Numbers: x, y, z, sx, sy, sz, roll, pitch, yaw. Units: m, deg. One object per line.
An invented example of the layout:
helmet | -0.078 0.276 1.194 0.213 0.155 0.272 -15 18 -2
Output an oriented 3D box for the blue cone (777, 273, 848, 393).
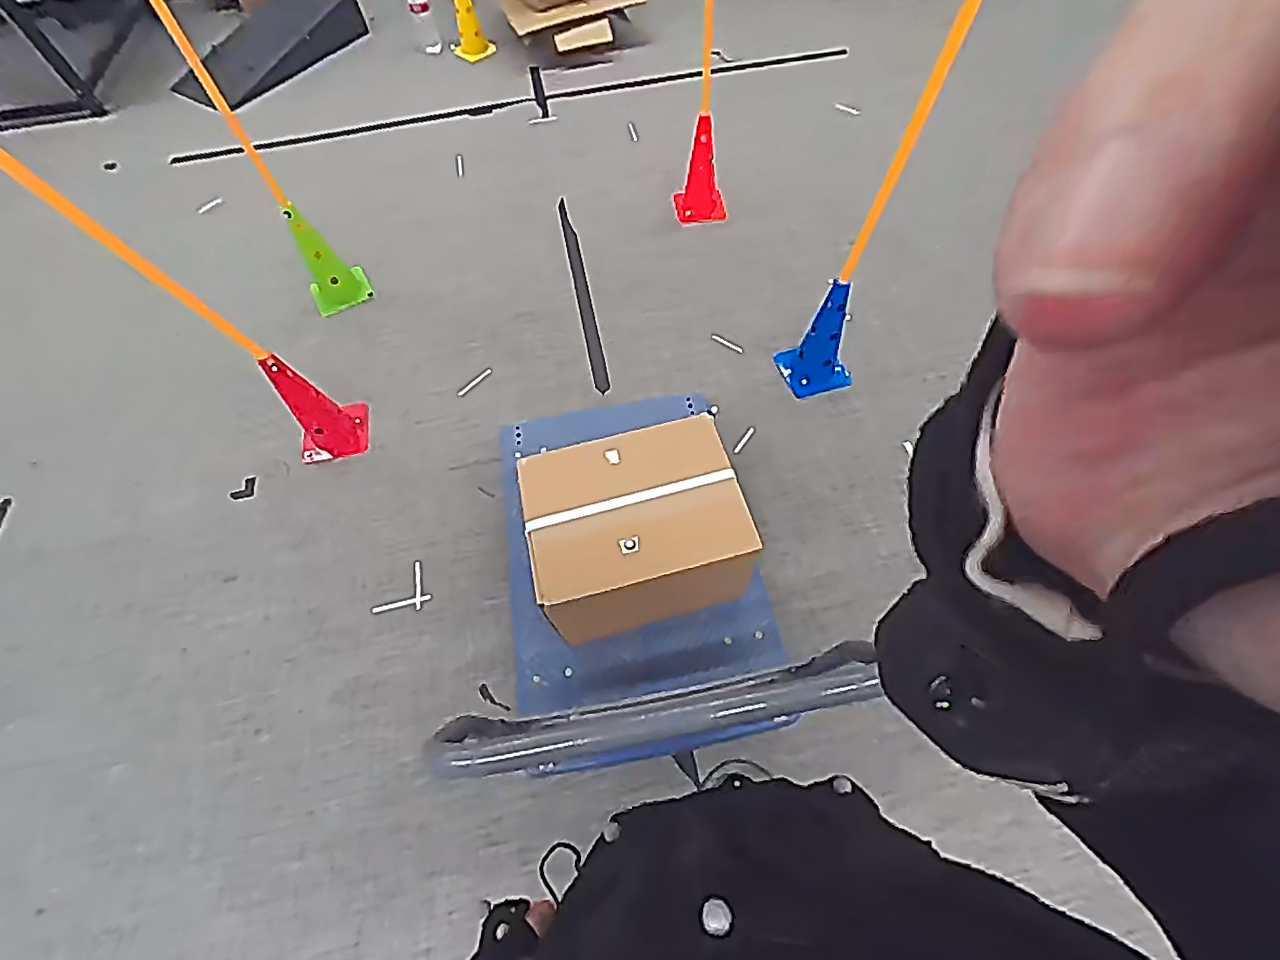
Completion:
blue cone | 0.560 -0.450 1.628 0.193 0.380 0.192 -15 60 -6

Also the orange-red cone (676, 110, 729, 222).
orange-red cone | 0.246 -1.199 2.044 0.199 0.360 0.198 -5 61 -2
